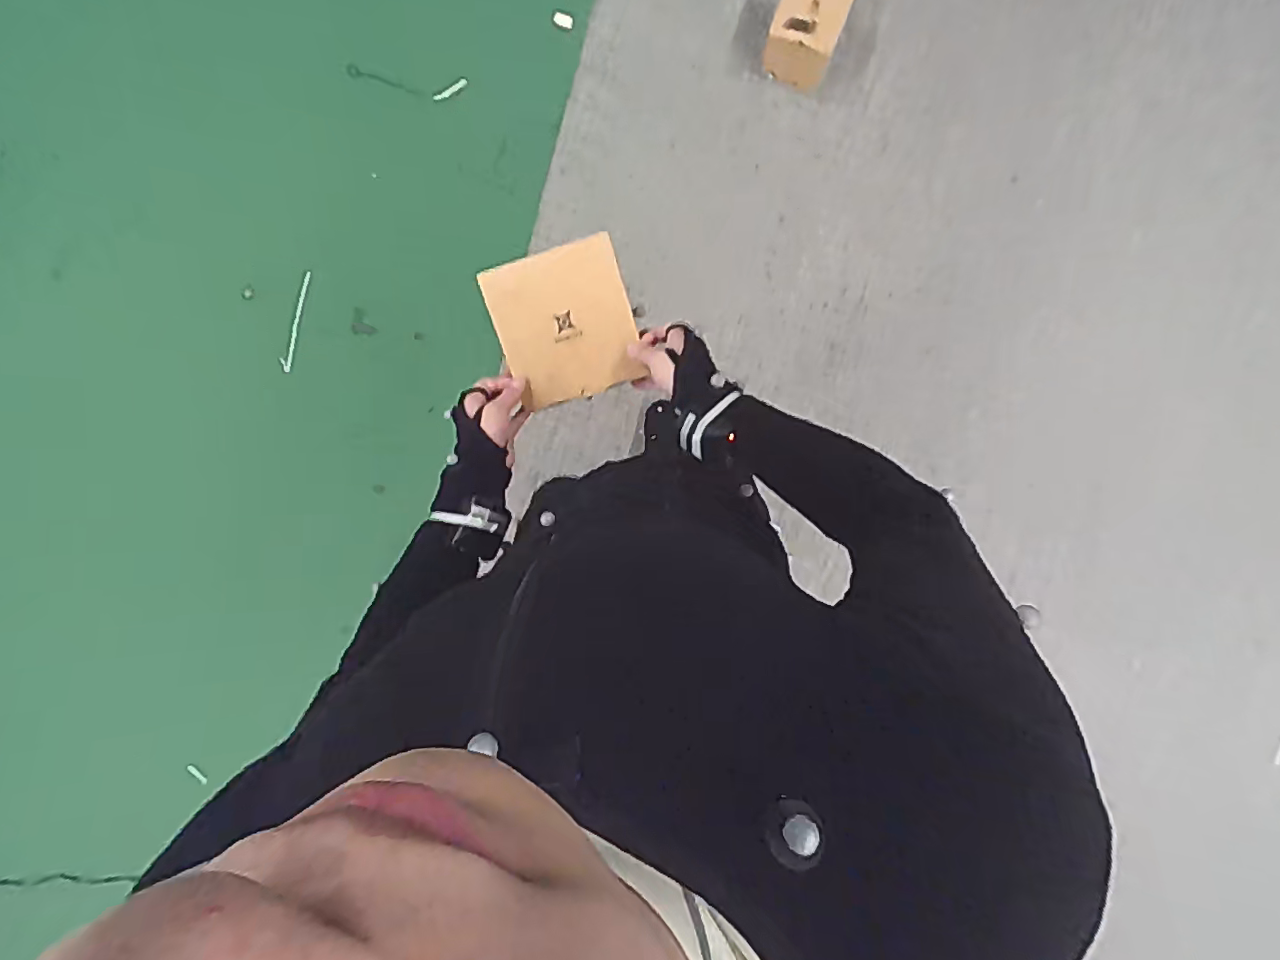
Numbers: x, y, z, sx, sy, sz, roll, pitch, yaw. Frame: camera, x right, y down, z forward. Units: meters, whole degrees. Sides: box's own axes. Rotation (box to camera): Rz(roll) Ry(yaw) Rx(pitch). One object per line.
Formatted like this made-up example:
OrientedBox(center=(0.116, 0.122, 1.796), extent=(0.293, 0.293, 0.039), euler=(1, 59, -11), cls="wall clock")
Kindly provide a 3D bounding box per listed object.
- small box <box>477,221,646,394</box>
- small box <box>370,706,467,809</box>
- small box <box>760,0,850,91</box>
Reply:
OrientedBox(center=(-0.096, -0.224, 0.726), extent=(0.179, 0.176, 0.168), euler=(14, 106, -4), cls="small box")
OrientedBox(center=(-0.606, 0.760, 1.500), extent=(0.179, 0.176, 0.168), euler=(19, 97, 1), cls="small box")
OrientedBox(center=(0.418, -1.147, 1.377), extent=(0.168, 0.176, 0.179), euler=(22, 97, 1), cls="small box")
